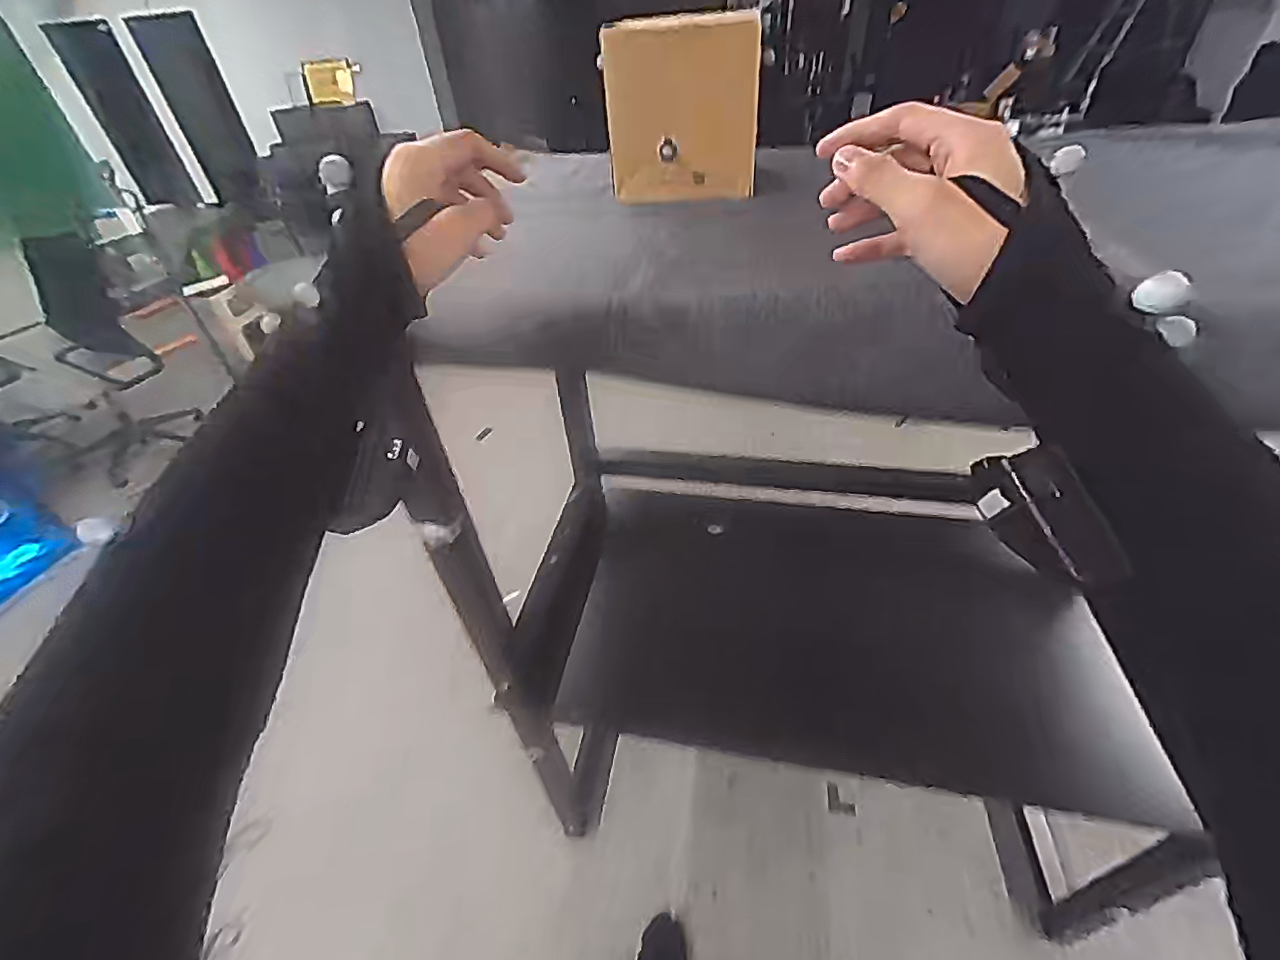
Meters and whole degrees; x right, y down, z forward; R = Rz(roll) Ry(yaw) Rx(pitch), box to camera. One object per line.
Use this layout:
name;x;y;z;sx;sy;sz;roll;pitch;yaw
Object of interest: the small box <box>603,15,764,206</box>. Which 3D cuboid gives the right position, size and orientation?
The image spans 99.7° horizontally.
small box;0.059;-0.447;0.657;0.168;0.176;0.179;3;42;10
